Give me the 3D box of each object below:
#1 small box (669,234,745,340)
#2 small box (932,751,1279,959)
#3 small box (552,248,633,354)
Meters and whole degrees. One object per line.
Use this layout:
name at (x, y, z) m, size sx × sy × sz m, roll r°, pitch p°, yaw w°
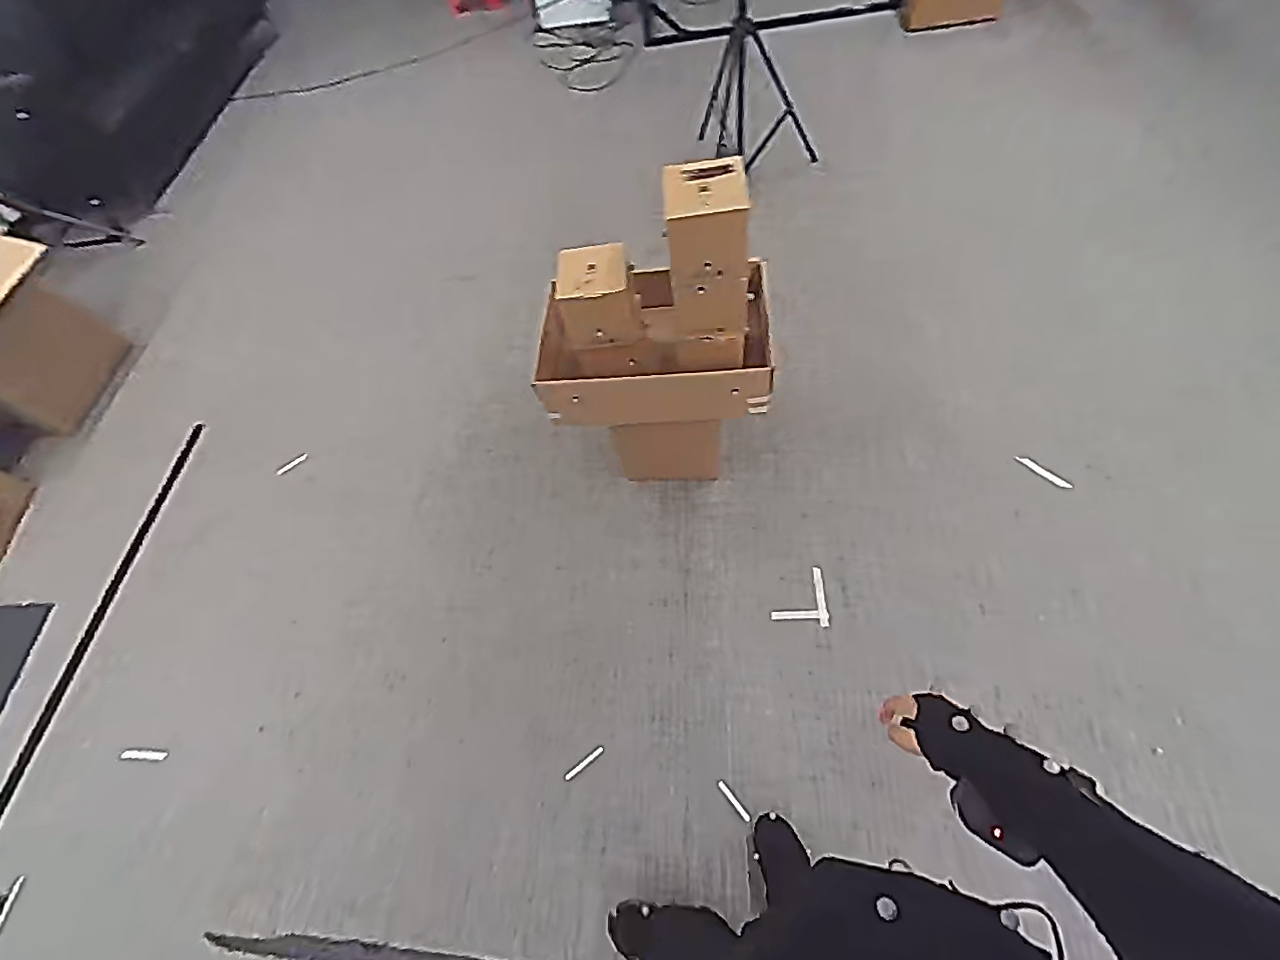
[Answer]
small box at (0.164, -0.457, 1.291) m, size 0.168 × 0.176 × 0.179 m, roll 1°, pitch 60°, yaw 11°
small box at (0.364, 0.317, 0.388) m, size 0.168 × 0.176 × 0.179 m, roll -47°, pitch 45°, yaw 33°
small box at (-0.111, -0.437, 1.330) m, size 0.168 × 0.176 × 0.179 m, roll -6°, pitch 60°, yaw 6°
